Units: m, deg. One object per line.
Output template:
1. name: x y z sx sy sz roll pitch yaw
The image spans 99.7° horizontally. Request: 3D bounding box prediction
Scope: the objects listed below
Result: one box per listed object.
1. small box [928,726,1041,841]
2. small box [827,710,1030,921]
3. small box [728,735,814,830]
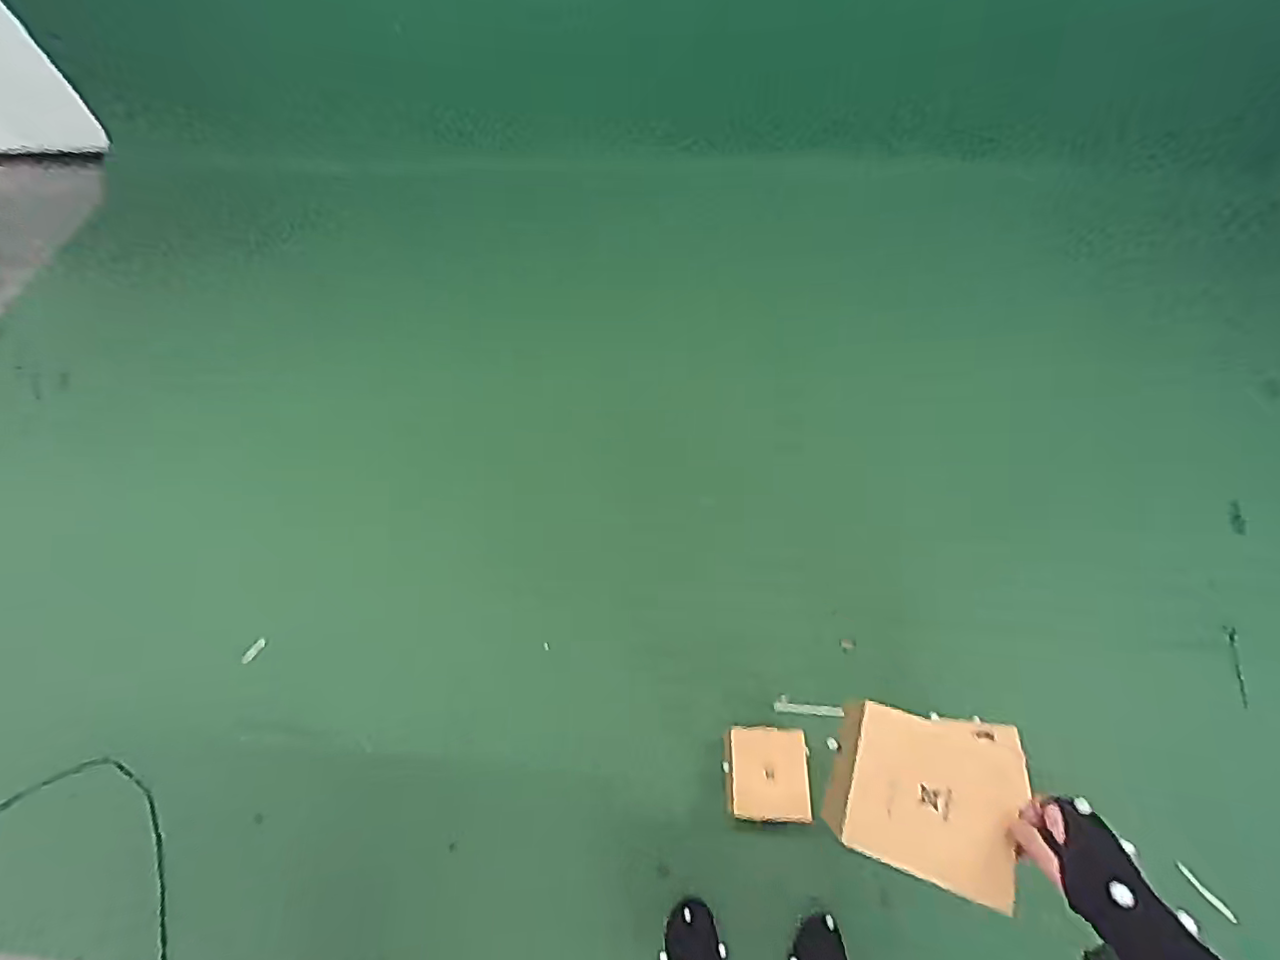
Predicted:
1. small box: 0.658 0.608 1.092 0.168 0.176 0.179 5 61 5
2. small box: 0.357 0.409 0.696 0.179 0.176 0.168 15 70 16
3. small box: 0.295 0.699 1.251 0.168 0.176 0.179 1 58 4
